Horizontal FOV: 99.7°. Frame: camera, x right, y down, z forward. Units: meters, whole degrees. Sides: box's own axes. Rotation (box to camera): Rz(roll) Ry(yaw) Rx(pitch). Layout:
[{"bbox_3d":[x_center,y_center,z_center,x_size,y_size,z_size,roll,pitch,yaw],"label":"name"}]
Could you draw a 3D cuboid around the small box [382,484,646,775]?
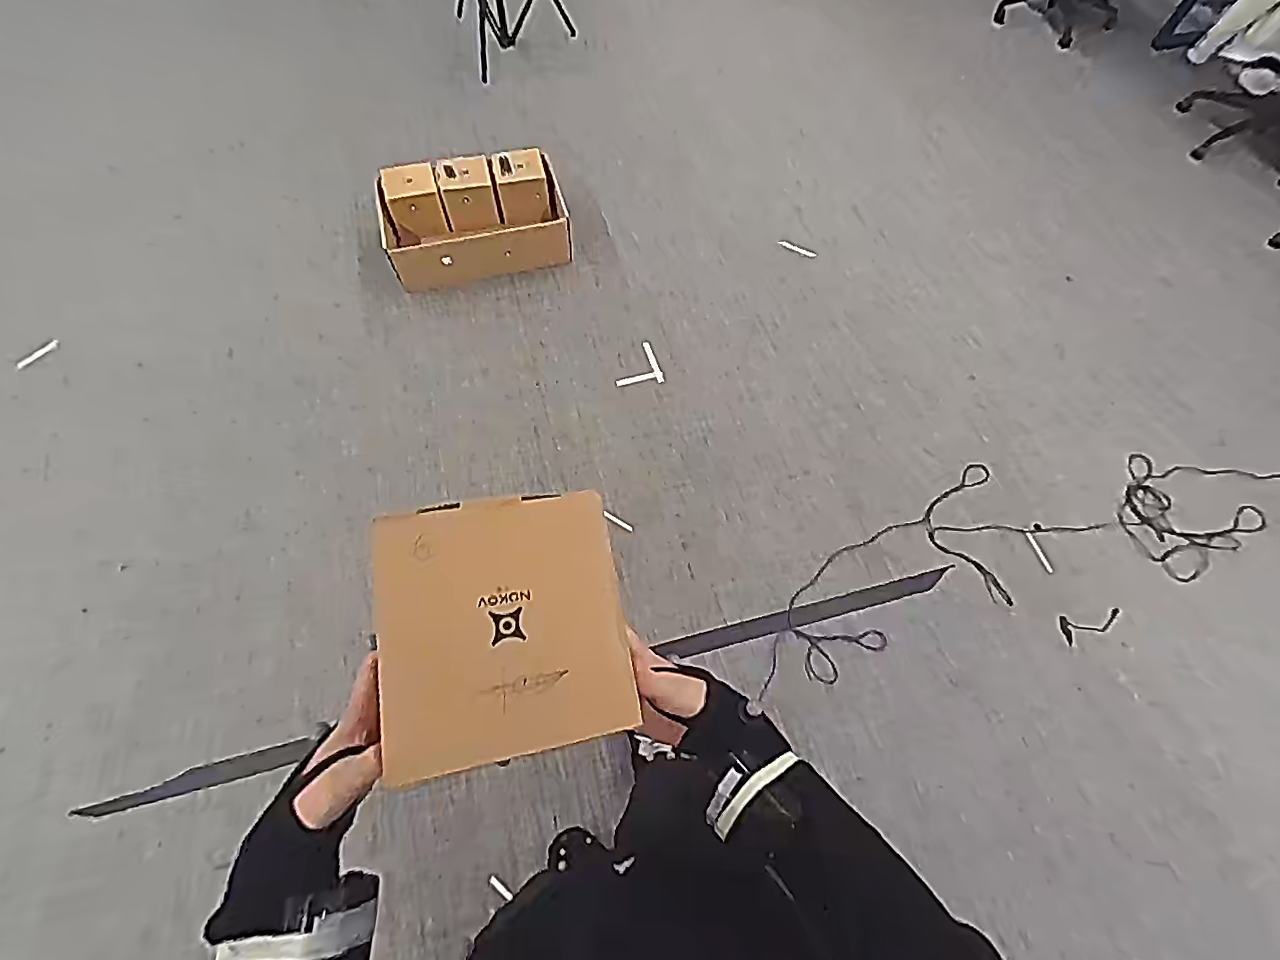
[{"bbox_3d":[-0.108,0.119,0.445,0.168,0.176,0.179,-6,72,-17],"label":"small box"}]
